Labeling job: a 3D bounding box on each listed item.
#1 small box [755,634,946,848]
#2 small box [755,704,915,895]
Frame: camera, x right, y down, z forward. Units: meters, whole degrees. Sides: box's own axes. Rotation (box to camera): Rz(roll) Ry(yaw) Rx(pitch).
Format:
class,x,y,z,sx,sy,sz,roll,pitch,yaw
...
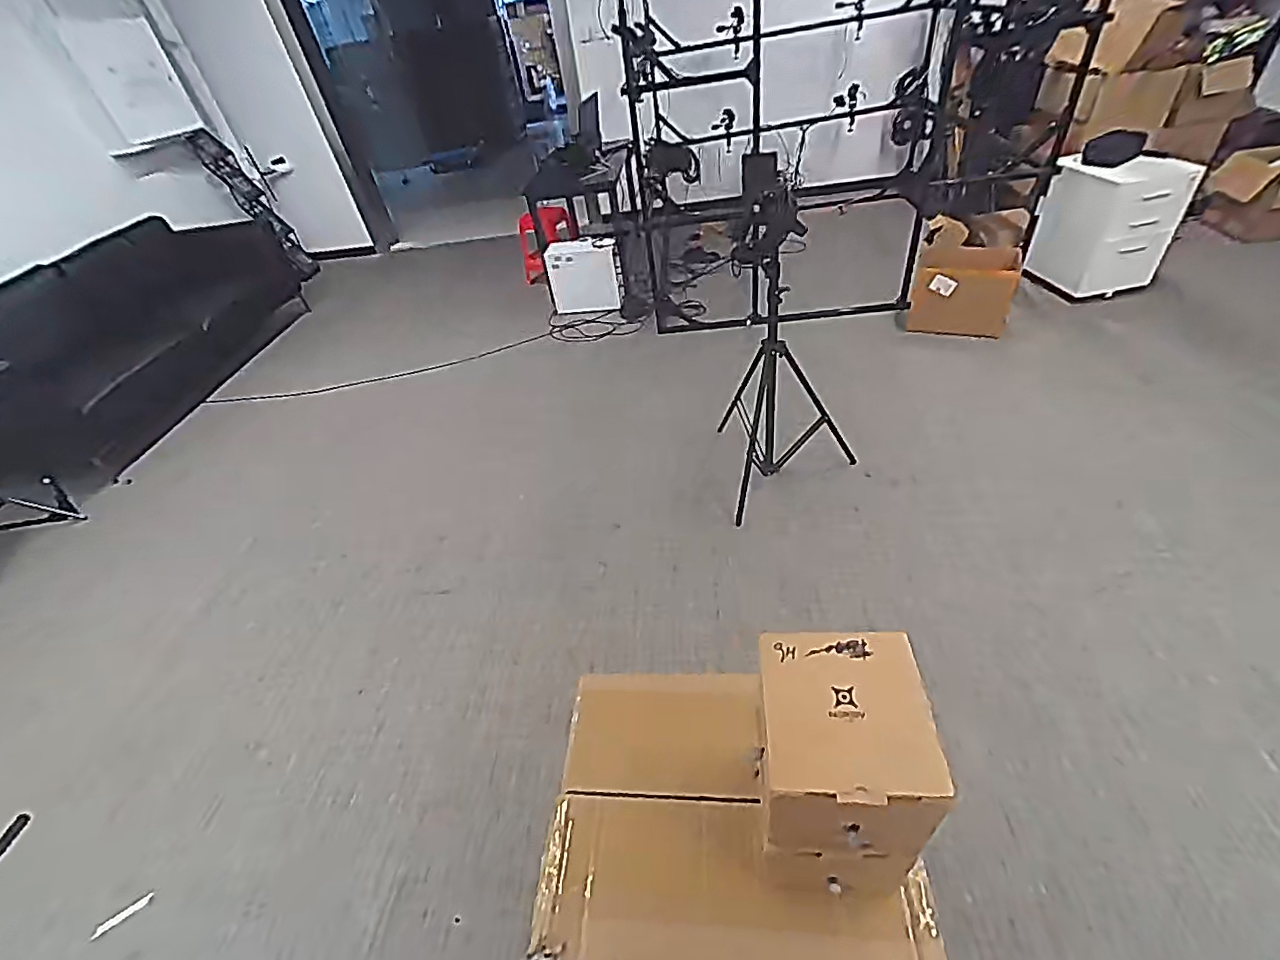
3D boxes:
class,x,y,z,sx,sy,sz,roll,pitch,yaw
small box,0.222,0.297,0.616,0.168,0.176,0.179,-3,42,10
small box,0.242,0.421,0.721,0.168,0.176,0.179,-4,41,9
